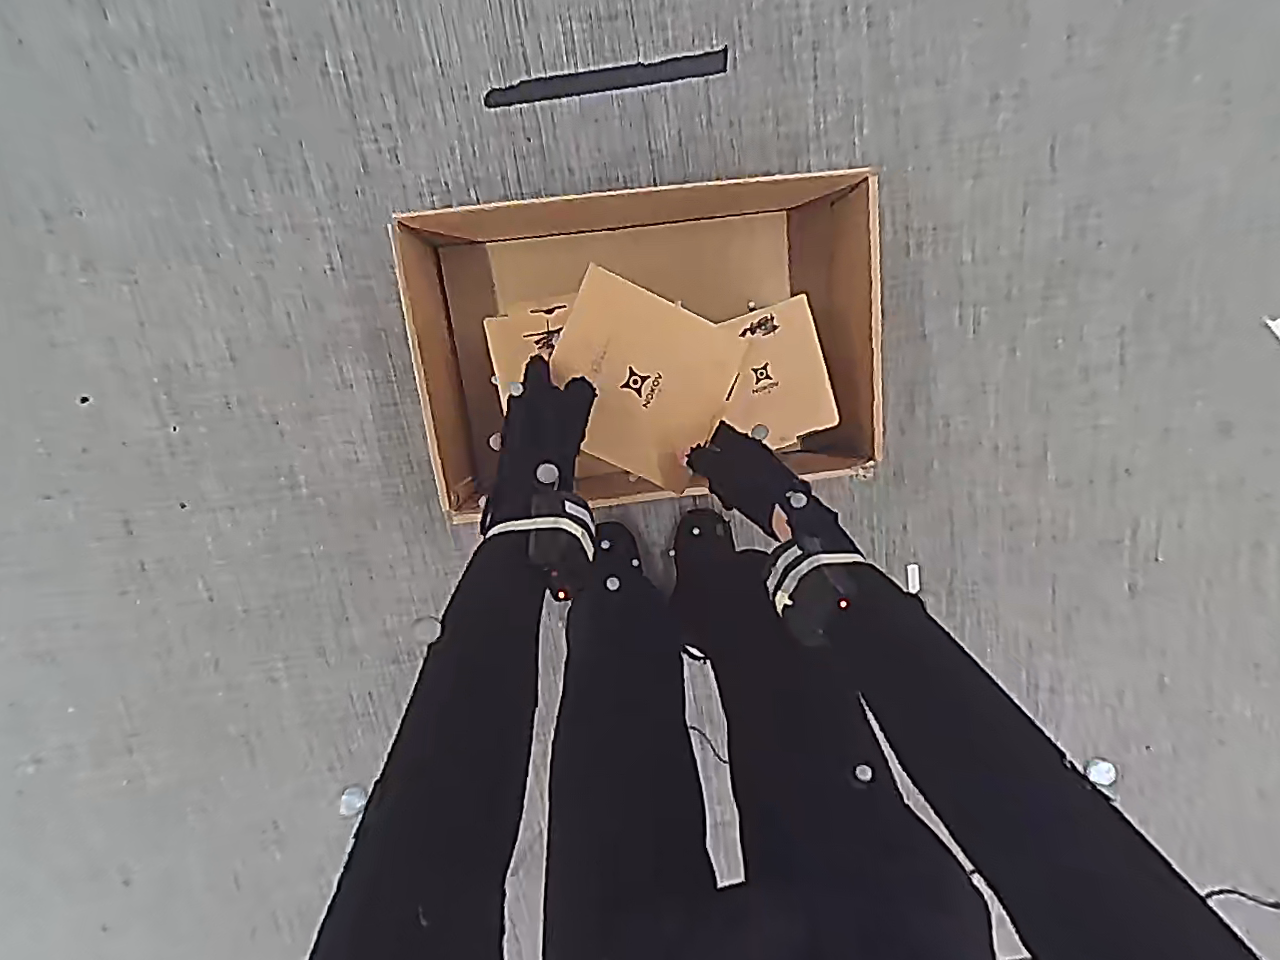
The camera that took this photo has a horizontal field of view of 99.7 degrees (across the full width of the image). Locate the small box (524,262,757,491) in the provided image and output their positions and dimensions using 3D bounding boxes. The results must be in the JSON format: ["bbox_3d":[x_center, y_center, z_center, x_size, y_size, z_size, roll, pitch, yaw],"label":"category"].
[{"bbox_3d":[-0.005,-0.106,0.592,0.179,0.176,0.168,24,94,-7],"label":"small box"}]

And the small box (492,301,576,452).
[{"bbox_3d":[-0.098,-0.147,0.761,0.168,0.176,0.179,-10,102,-2],"label":"small box"}]
